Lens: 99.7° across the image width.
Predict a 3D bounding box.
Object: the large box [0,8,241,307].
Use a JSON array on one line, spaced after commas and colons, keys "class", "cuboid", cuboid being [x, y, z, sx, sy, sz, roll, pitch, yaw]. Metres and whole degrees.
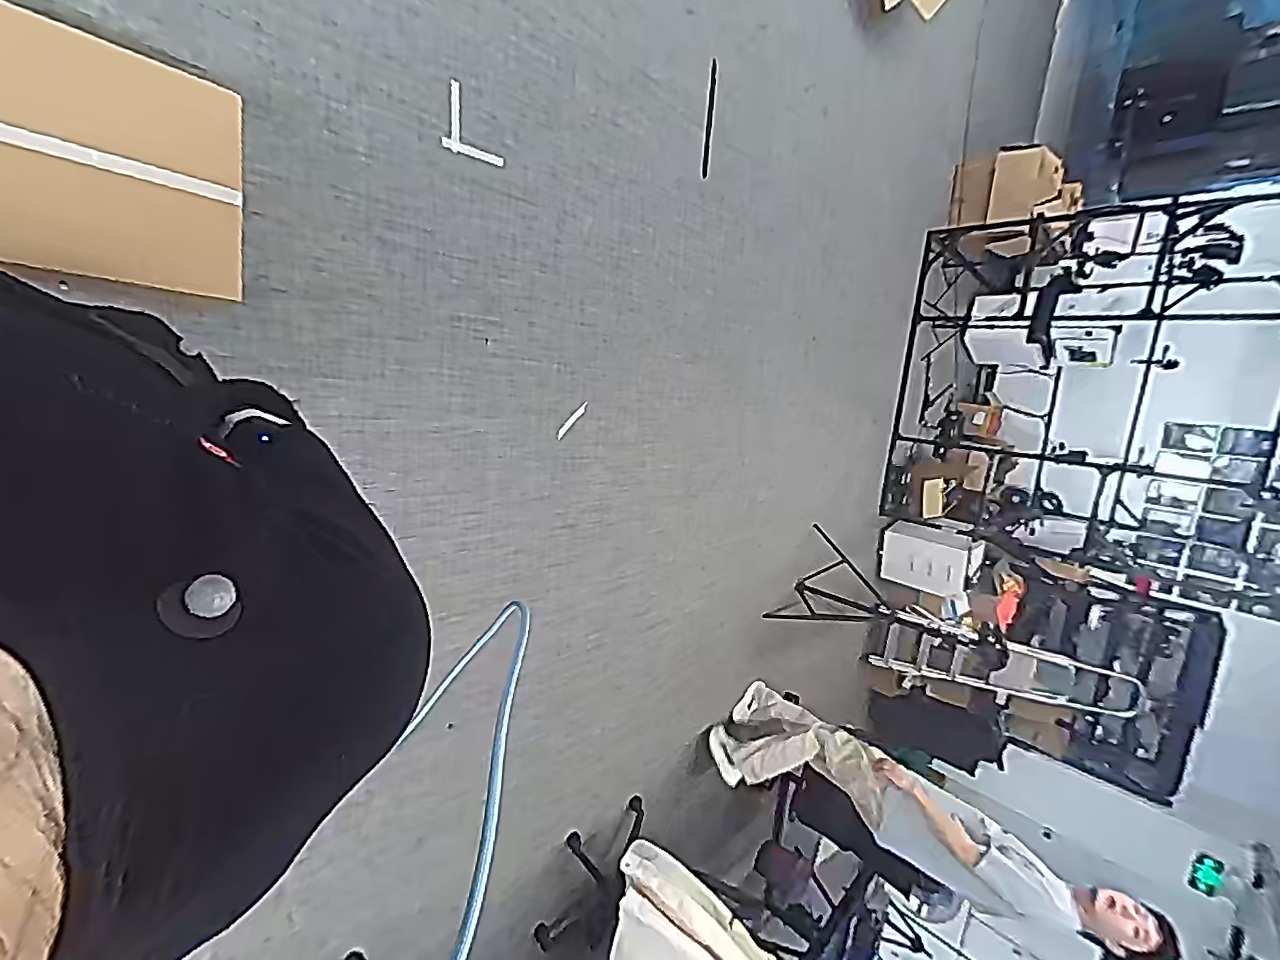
[{"class": "large box", "cuboid": [-0.881, -0.457, 0.814, 0.408, 0.320, 0.320, -3, 103, -46]}]
